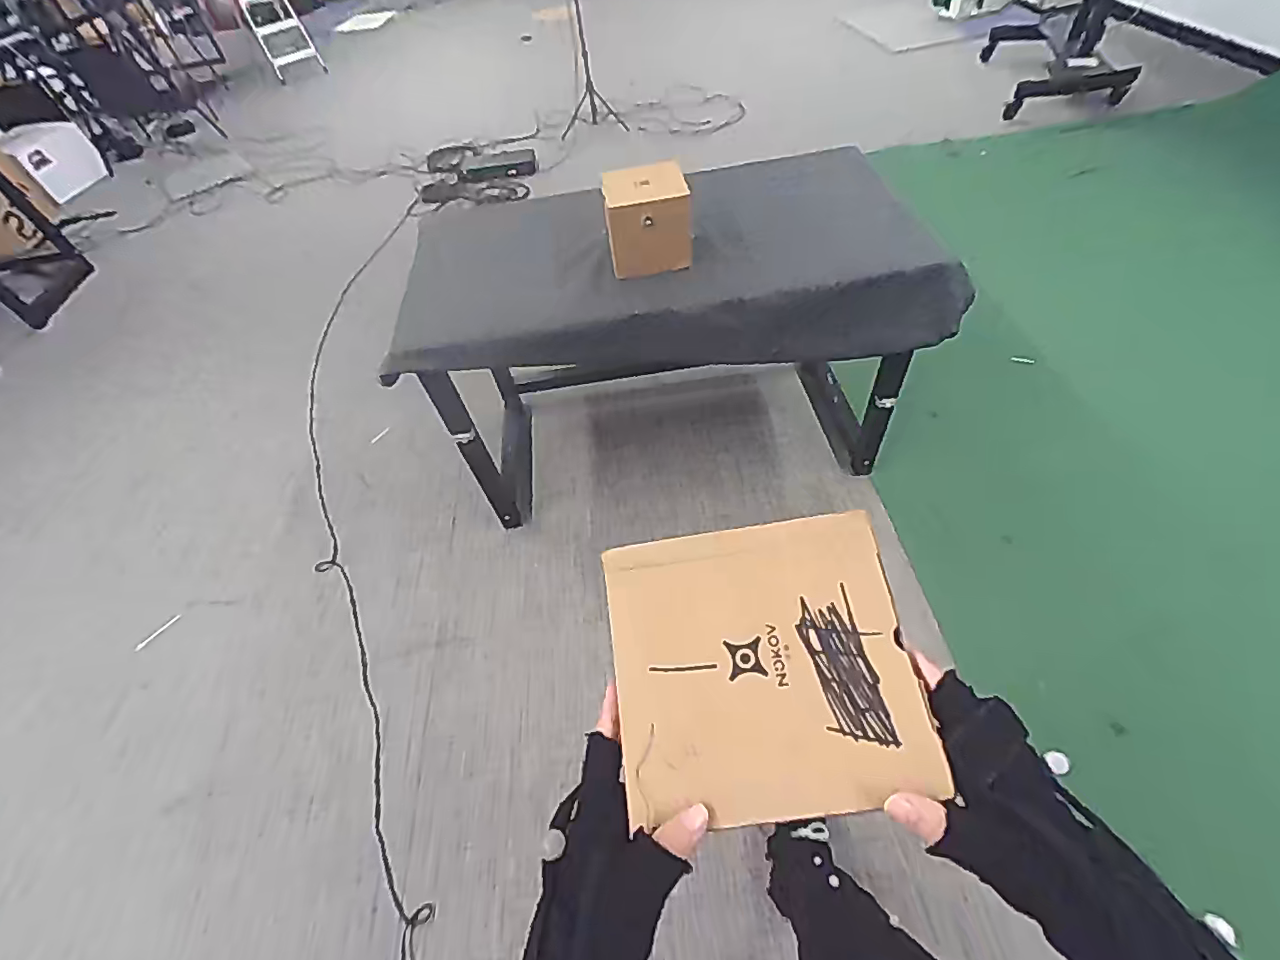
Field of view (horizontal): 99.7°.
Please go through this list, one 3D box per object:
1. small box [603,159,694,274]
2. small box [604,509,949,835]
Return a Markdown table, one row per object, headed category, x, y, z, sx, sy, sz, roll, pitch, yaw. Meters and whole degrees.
| category | x | y | z | sx | sy | sz | roll | pitch | yaw |
| --- | --- | --- | --- | --- | --- | --- | --- | --- | --- |
| small box | 0.022 | -0.578 | 1.201 | 0.179 | 0.176 | 0.168 | -9 | 53 | 0 |
| small box | 0.078 | 0.138 | 0.399 | 0.179 | 0.176 | 0.168 | -11 | 65 | 0 |
